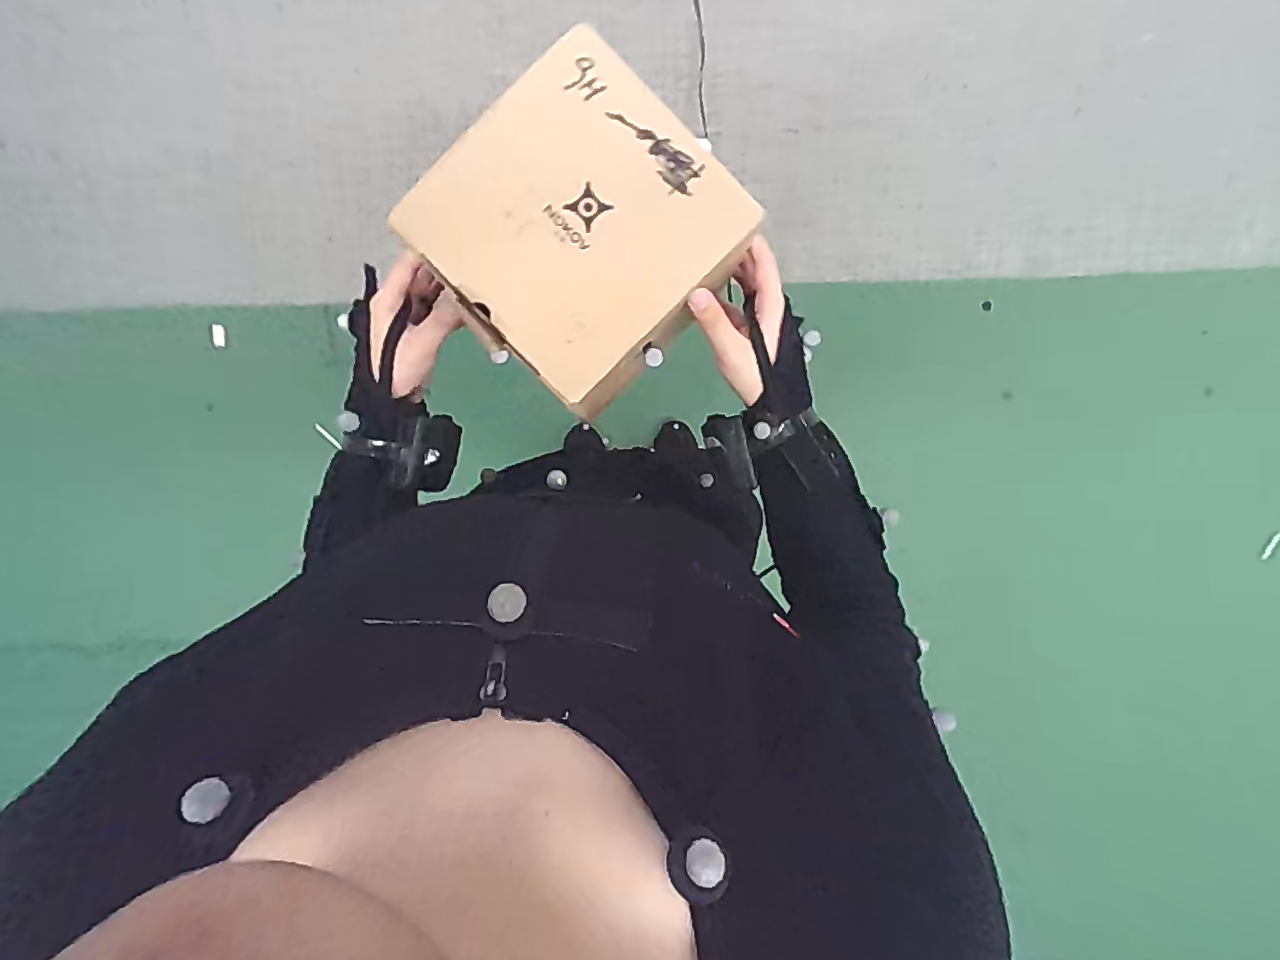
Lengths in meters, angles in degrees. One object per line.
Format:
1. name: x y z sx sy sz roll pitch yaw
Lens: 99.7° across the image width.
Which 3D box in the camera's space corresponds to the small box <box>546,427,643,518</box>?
1. small box: -0.112 -0.018 1.320 0.179 0.176 0.168 26 93 8
